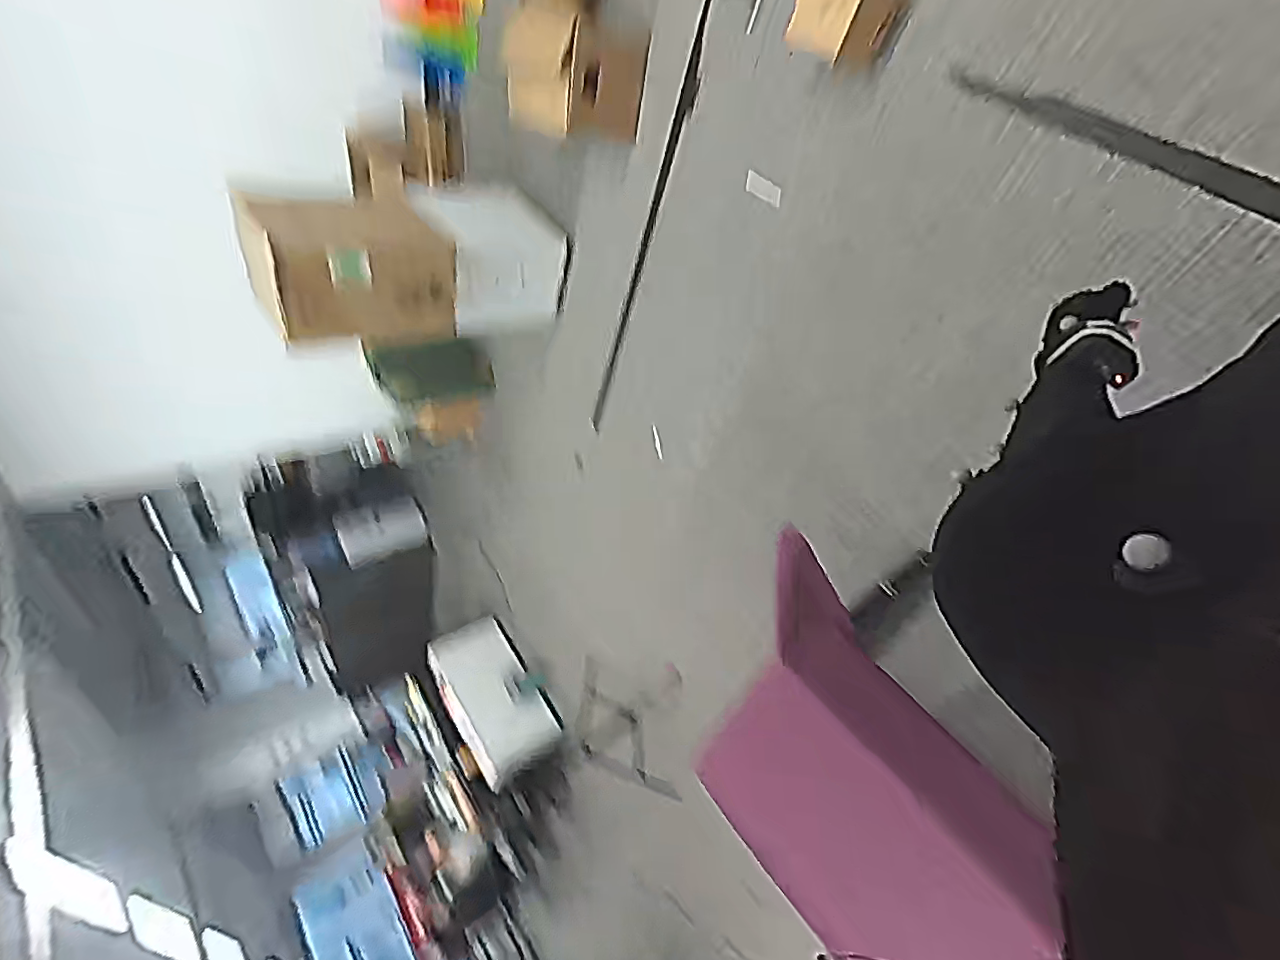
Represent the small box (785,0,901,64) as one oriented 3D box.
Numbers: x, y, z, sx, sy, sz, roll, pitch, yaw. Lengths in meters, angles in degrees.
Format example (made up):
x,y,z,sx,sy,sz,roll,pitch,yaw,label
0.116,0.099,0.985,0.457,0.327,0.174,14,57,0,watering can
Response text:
x,y,z,sx,sy,sz,roll,pitch,yaw,label
0.494,-1.138,1.308,0.179,0.176,0.168,47,139,27,small box
